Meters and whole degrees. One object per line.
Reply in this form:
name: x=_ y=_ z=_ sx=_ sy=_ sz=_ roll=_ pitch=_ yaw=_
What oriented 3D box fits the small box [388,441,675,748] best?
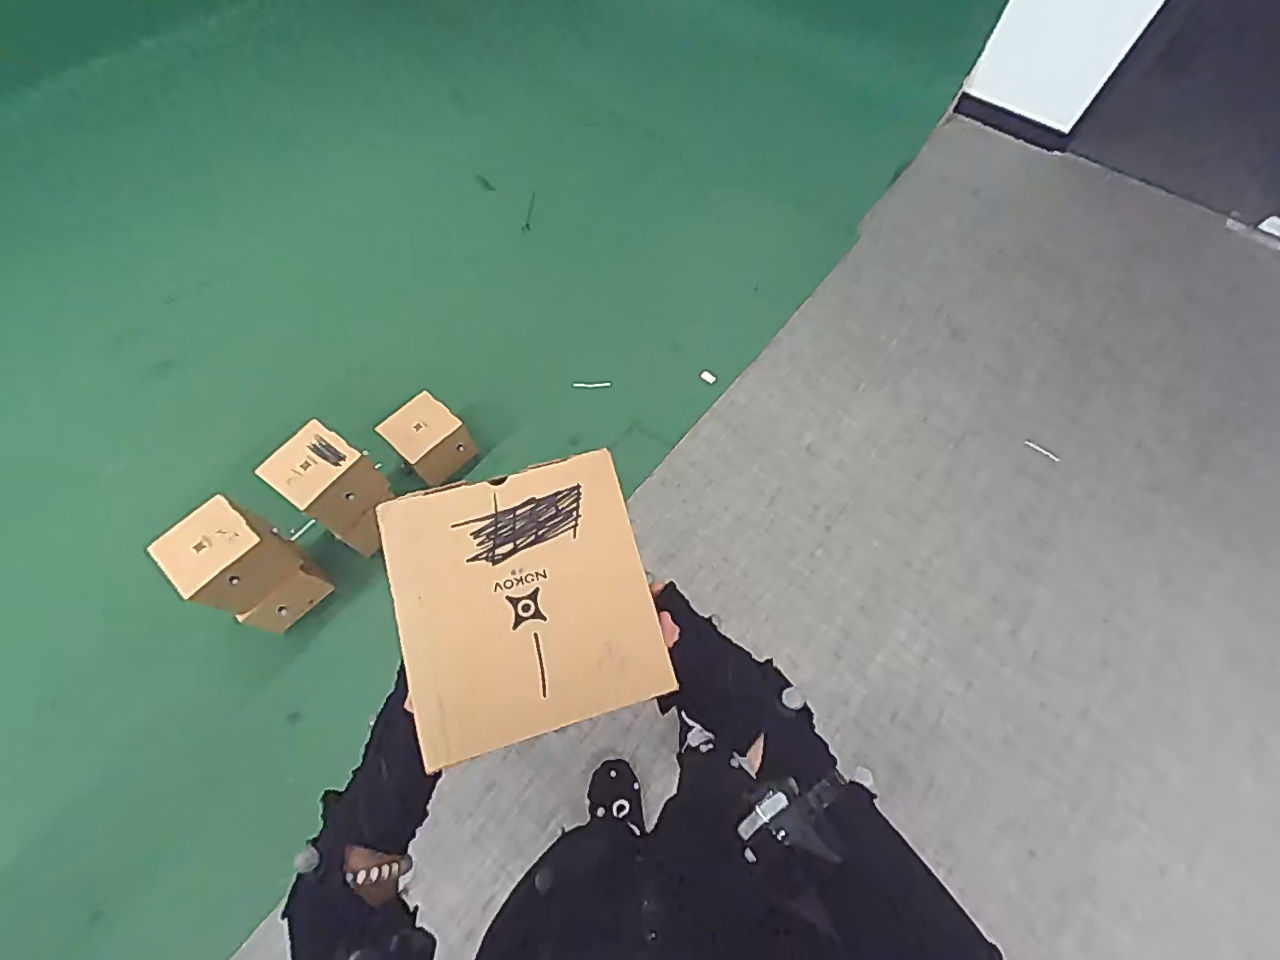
small box: x=-0.085 y=0.091 z=0.441 sx=0.168 sy=0.176 sz=0.179 roll=-14 pitch=76 yaw=-10

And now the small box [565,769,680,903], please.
small box: x=-0.039 y=0.754 z=1.163 sx=0.179 sy=0.176 sz=0.168 roll=22 pitch=77 yaw=27

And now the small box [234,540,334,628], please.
small box: x=-0.919 y=0.254 z=1.363 sx=0.179 sy=0.176 sz=0.168 roll=41 pitch=71 yaw=17

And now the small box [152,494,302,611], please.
small box: x=-0.919 y=0.170 z=1.220 sx=0.168 sy=0.176 sz=0.179 roll=40 pitch=70 yaw=16

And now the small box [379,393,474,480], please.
small box: x=-0.595 y=-0.108 z=1.542 sx=0.168 sy=0.176 sz=0.179 roll=40 pitch=70 yaw=17
